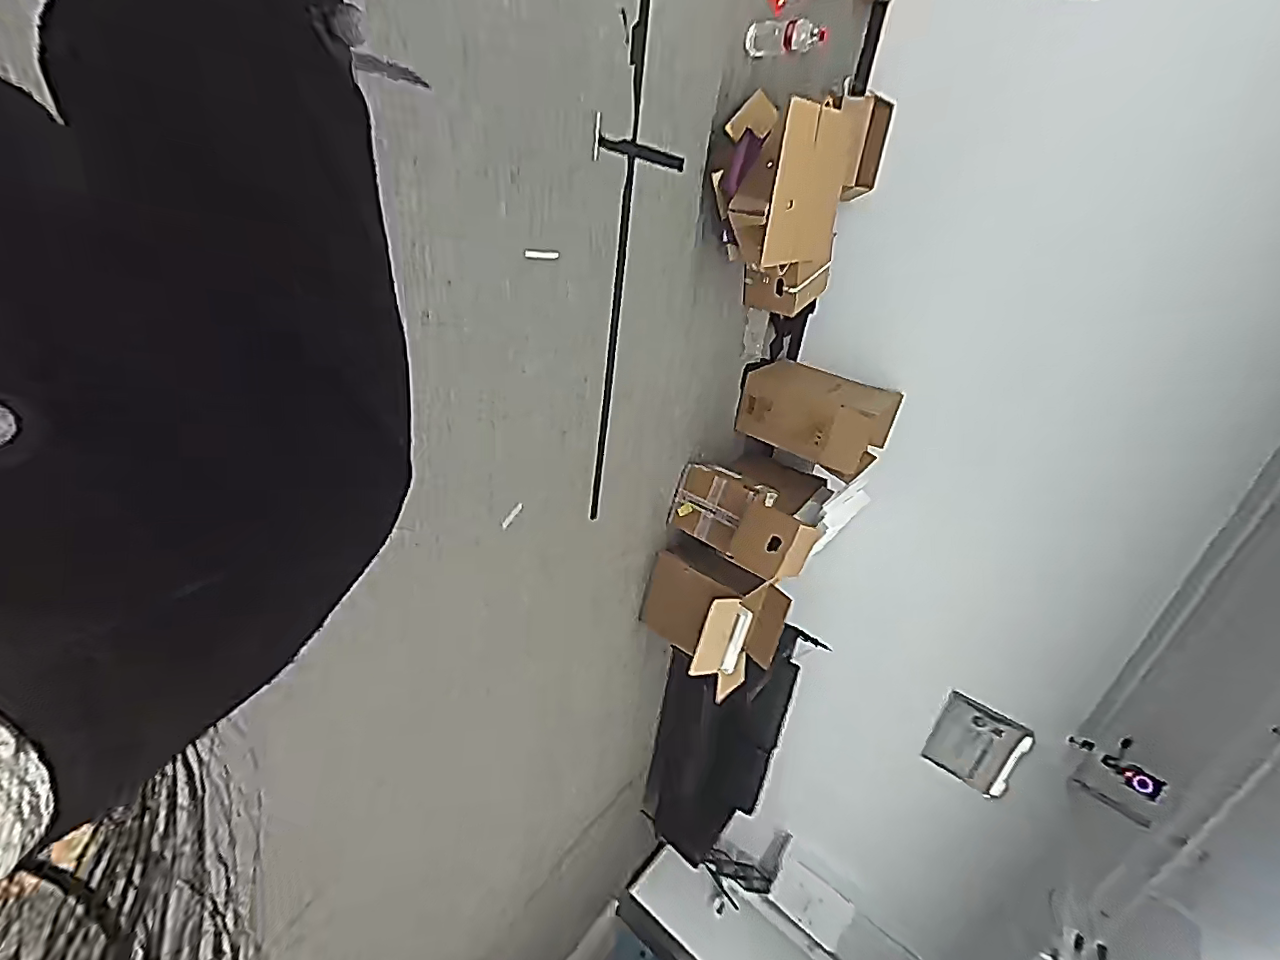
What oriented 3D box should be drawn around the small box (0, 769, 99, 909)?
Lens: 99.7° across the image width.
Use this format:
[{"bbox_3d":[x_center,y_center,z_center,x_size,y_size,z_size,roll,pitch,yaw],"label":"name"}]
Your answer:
[{"bbox_3d":[-1.398,0.818,1.244,0.179,0.176,0.168,-18,126,-51],"label":"small box"}]
